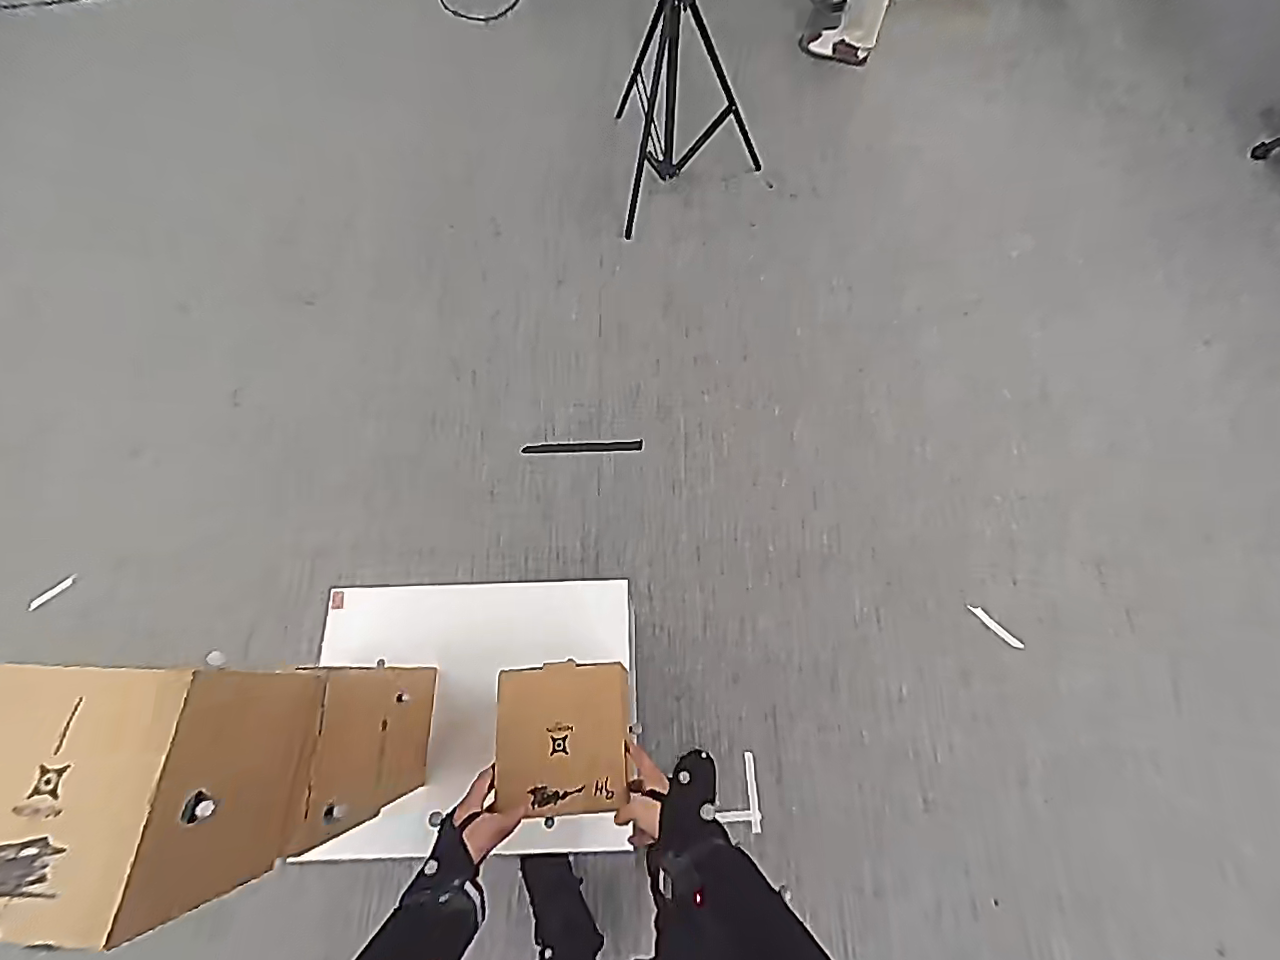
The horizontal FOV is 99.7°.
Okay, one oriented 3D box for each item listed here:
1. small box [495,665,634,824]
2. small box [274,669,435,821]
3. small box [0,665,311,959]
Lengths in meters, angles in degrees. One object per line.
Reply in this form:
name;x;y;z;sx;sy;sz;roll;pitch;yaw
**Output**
small box;-0.096;0.364;0.757;0.168;0.176;0.179;-4;66;1
small box;-0.407;0.364;0.768;0.168;0.176;0.179;-1;69;0
small box;-0.418;0.255;0.458;0.168;0.176;0.179;2;69;2
